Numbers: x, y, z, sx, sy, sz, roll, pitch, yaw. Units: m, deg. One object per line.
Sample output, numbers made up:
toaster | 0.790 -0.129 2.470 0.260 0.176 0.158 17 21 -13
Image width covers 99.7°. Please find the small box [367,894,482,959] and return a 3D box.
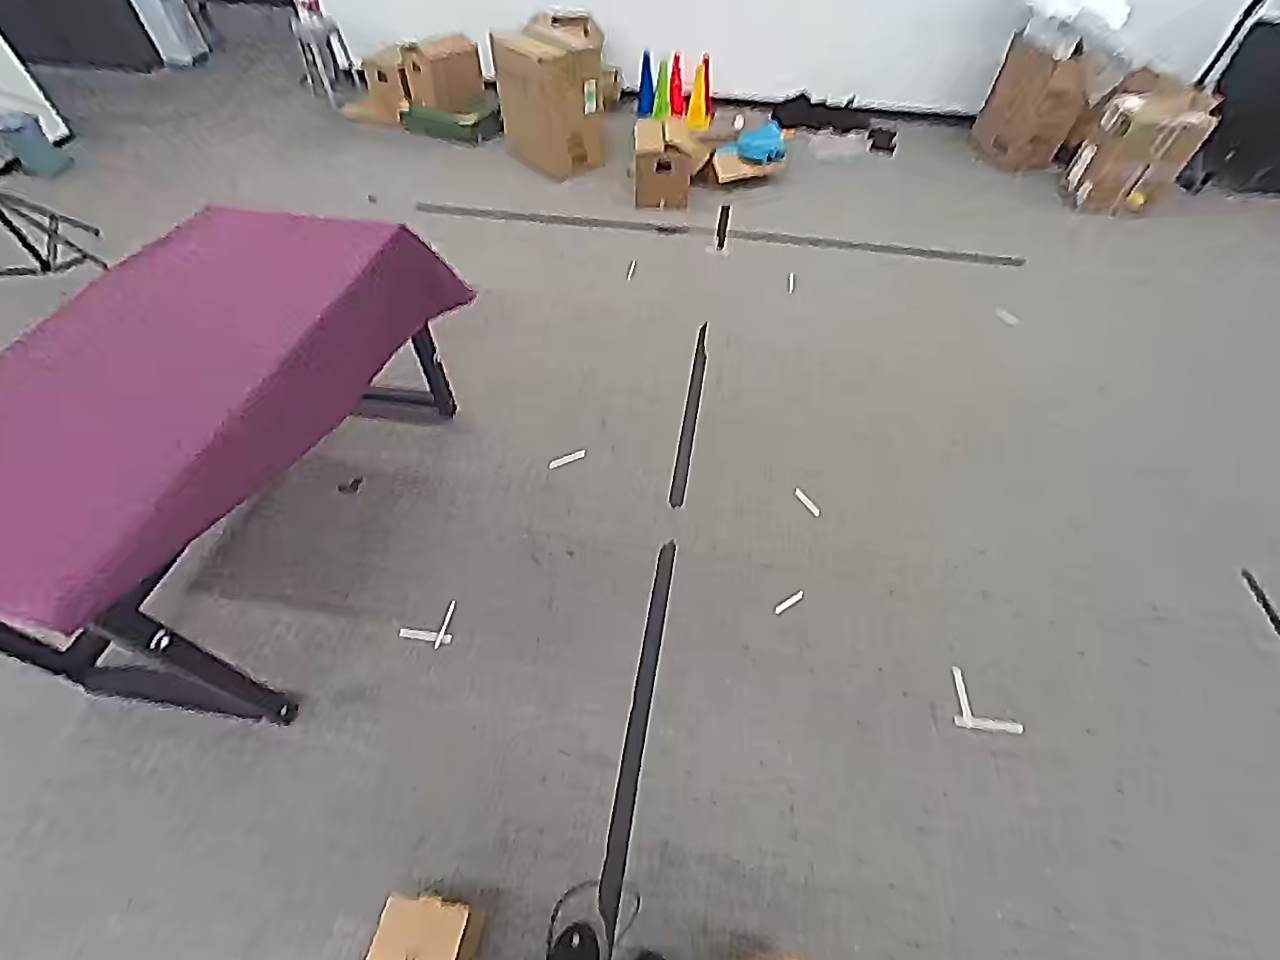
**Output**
small box | -0.422 0.936 1.052 0.168 0.176 0.179 8 50 5
